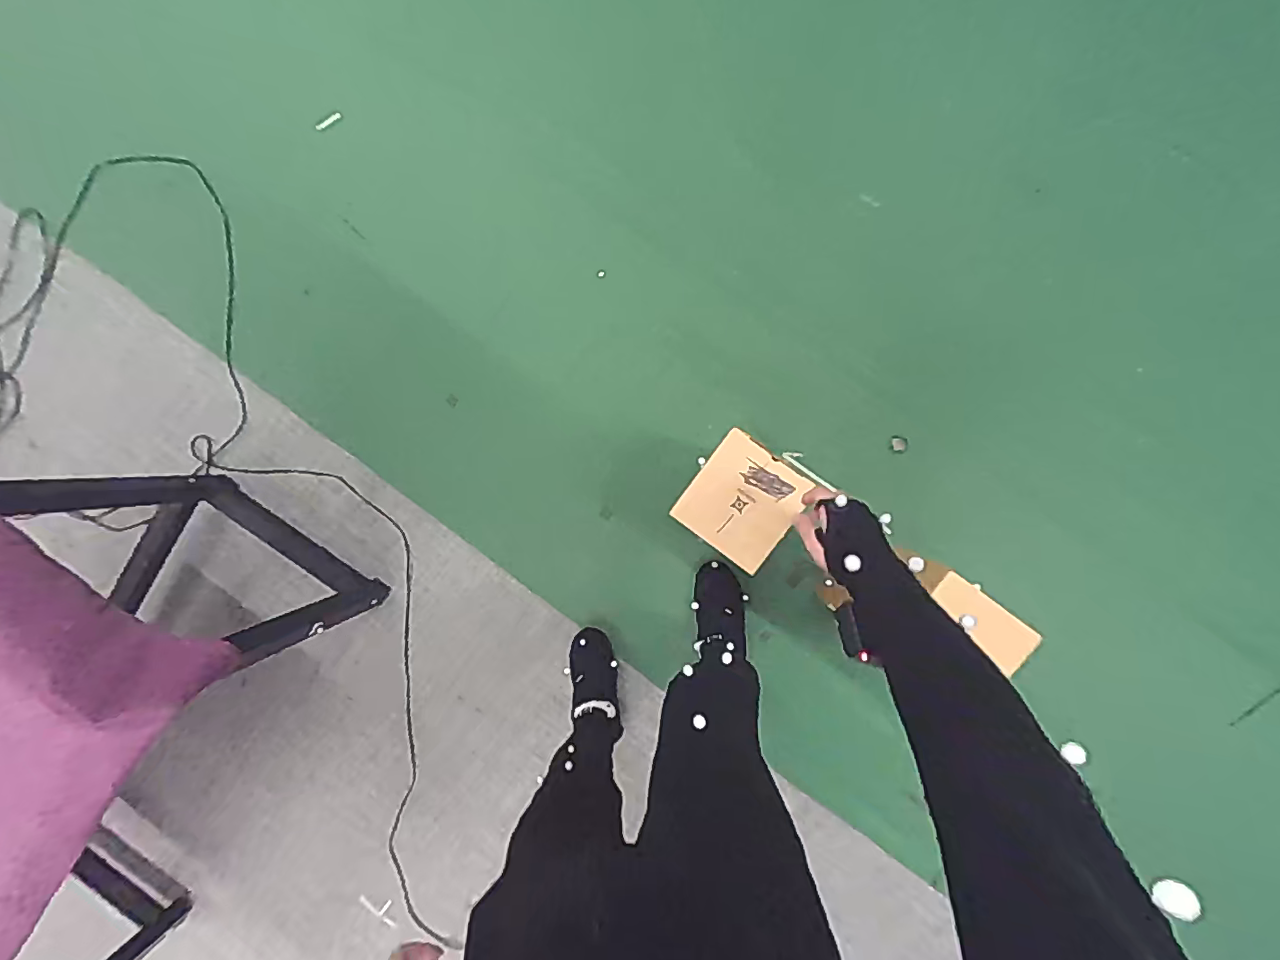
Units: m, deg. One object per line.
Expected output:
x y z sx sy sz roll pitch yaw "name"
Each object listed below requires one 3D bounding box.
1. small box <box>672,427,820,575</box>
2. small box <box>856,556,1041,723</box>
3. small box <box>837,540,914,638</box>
0.170 0.031 0.920 0.168 0.176 0.179 37 95 4 "small box"
0.487 0.247 0.888 0.168 0.176 0.179 38 97 4 "small box"
0.508 0.242 1.052 0.168 0.176 0.179 37 98 3 "small box"
